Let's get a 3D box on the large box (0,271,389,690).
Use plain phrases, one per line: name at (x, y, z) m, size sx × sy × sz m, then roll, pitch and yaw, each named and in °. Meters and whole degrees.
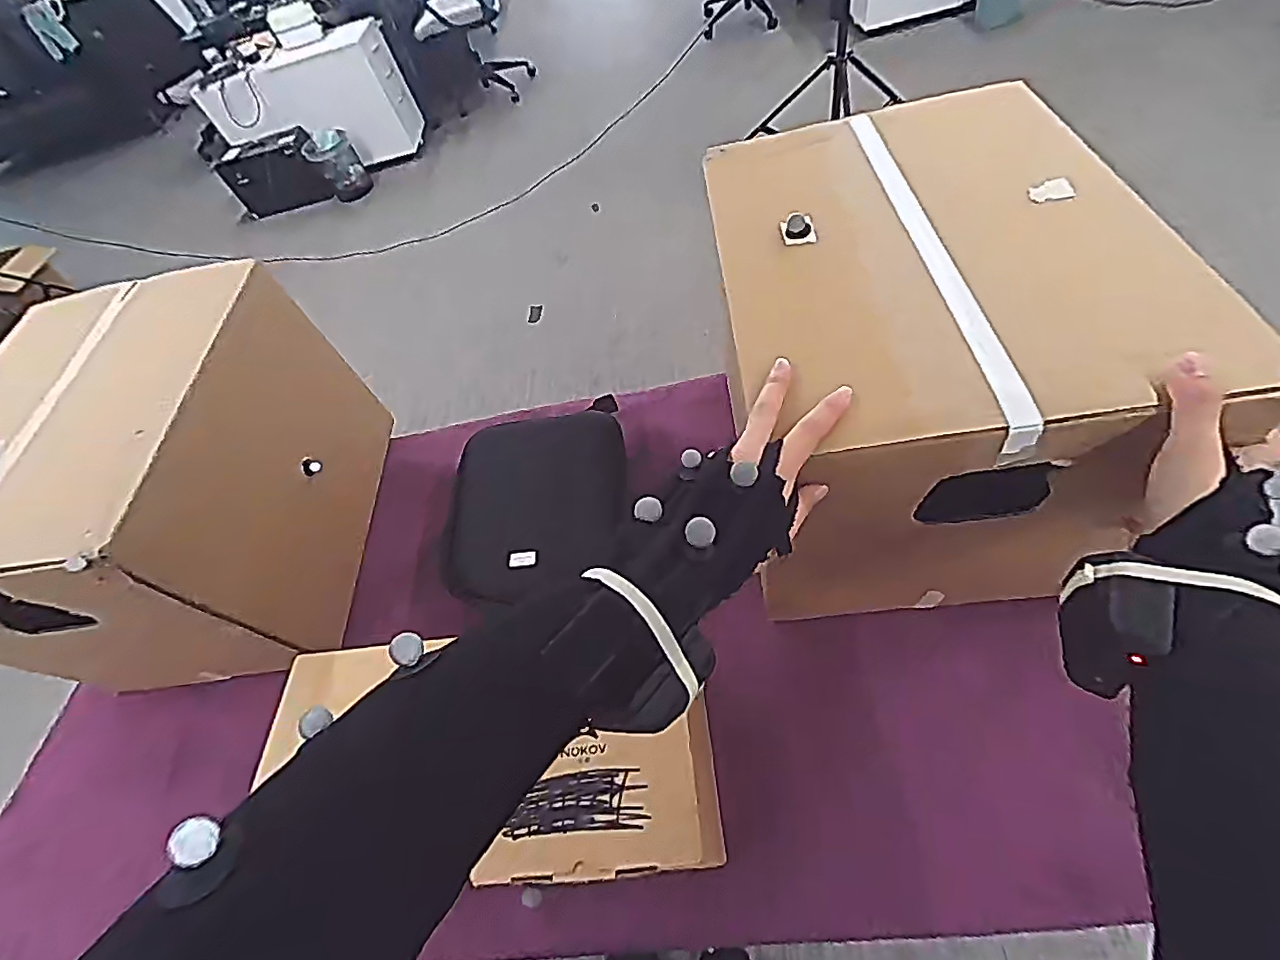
large box at (-0.564, 0.011, 0.685) m, size 0.320 × 0.320 × 0.408 m, roll -10°, pitch 57°, yaw 6°
